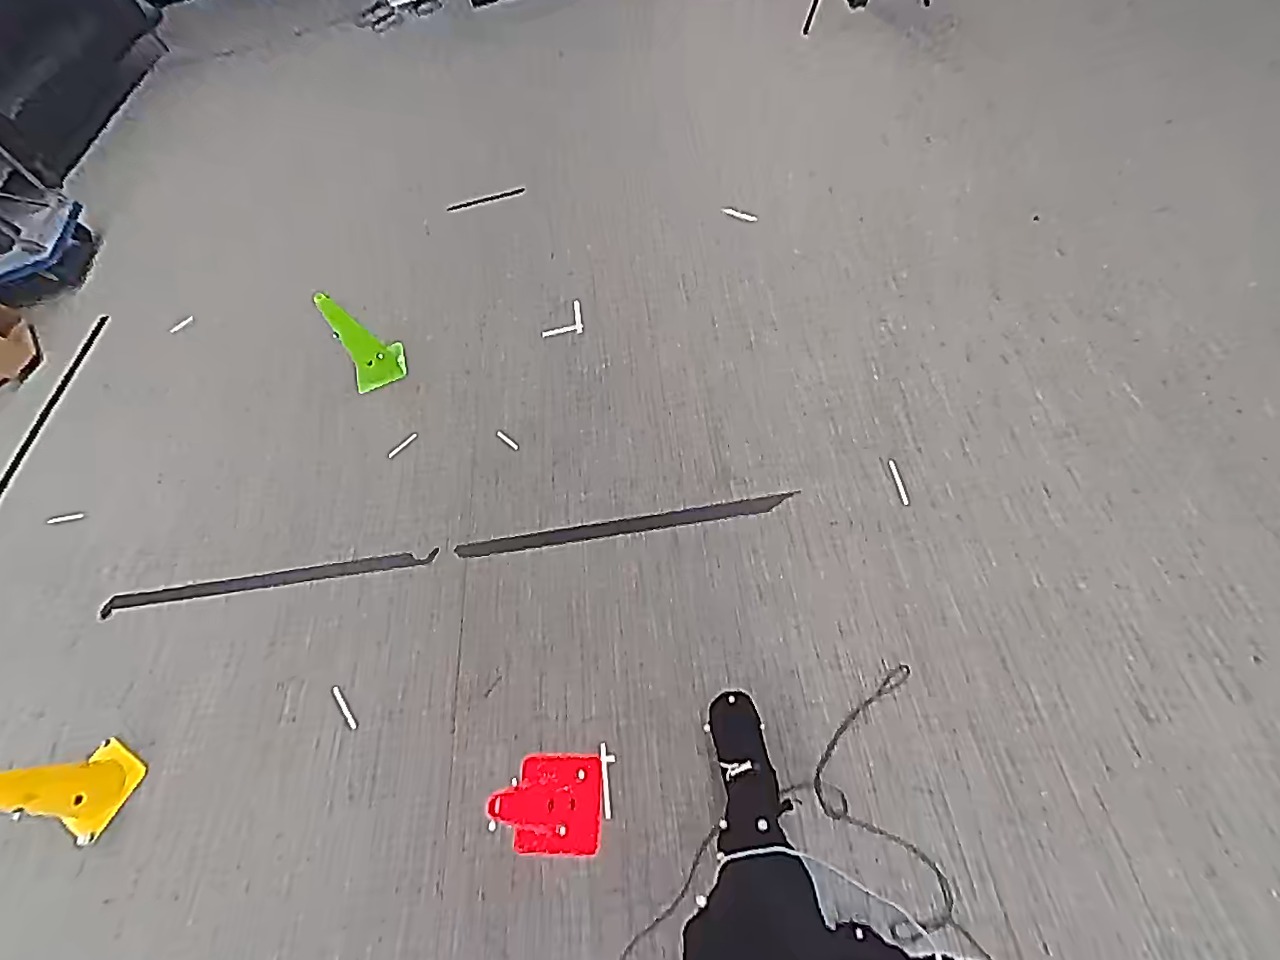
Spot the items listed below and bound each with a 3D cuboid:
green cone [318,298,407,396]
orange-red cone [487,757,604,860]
[{"bbox_3d":[-1.049,-0.512,1.982,0.202,0.368,0.200,-23,58,-3],"label":"green cone"},{"bbox_3d":[-0.219,0.663,1.096,0.199,0.360,0.198,-4,59,12],"label":"orange-red cone"}]
